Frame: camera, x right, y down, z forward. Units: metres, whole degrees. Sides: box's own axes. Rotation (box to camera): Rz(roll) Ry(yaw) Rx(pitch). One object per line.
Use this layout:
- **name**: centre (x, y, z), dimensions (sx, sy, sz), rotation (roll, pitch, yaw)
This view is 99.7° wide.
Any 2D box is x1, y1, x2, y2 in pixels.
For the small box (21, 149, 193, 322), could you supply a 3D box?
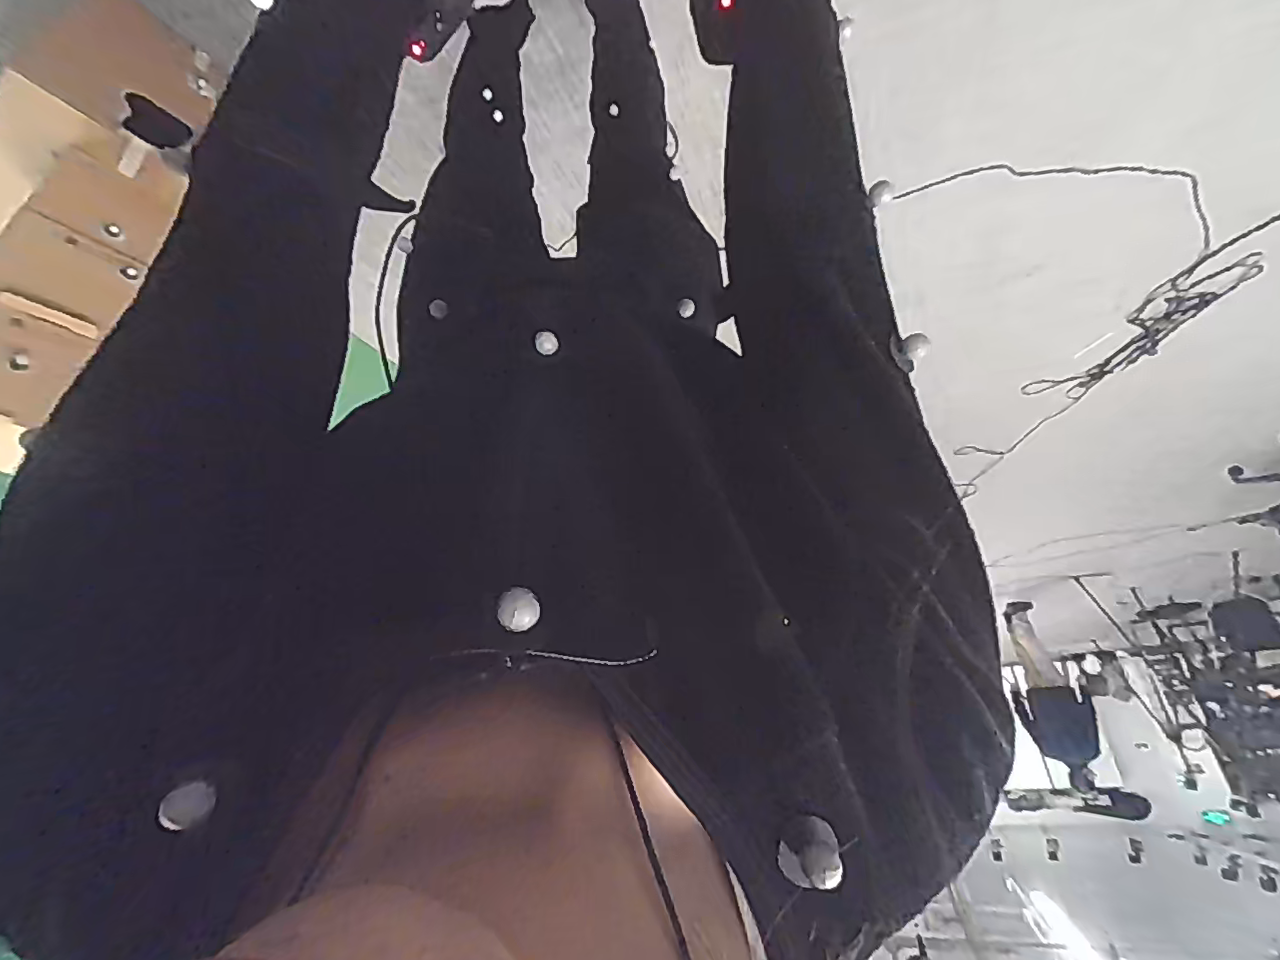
- **small box**: centre (-0.915, -0.412, 0.925), dimensions (0.168, 0.176, 0.179), rotation (-22, 146, 30)

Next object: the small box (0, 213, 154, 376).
- **small box**: centre (-0.905, -0.270, 0.844), dimensions (0.179, 0.176, 0.168), rotation (-23, 147, 32)
